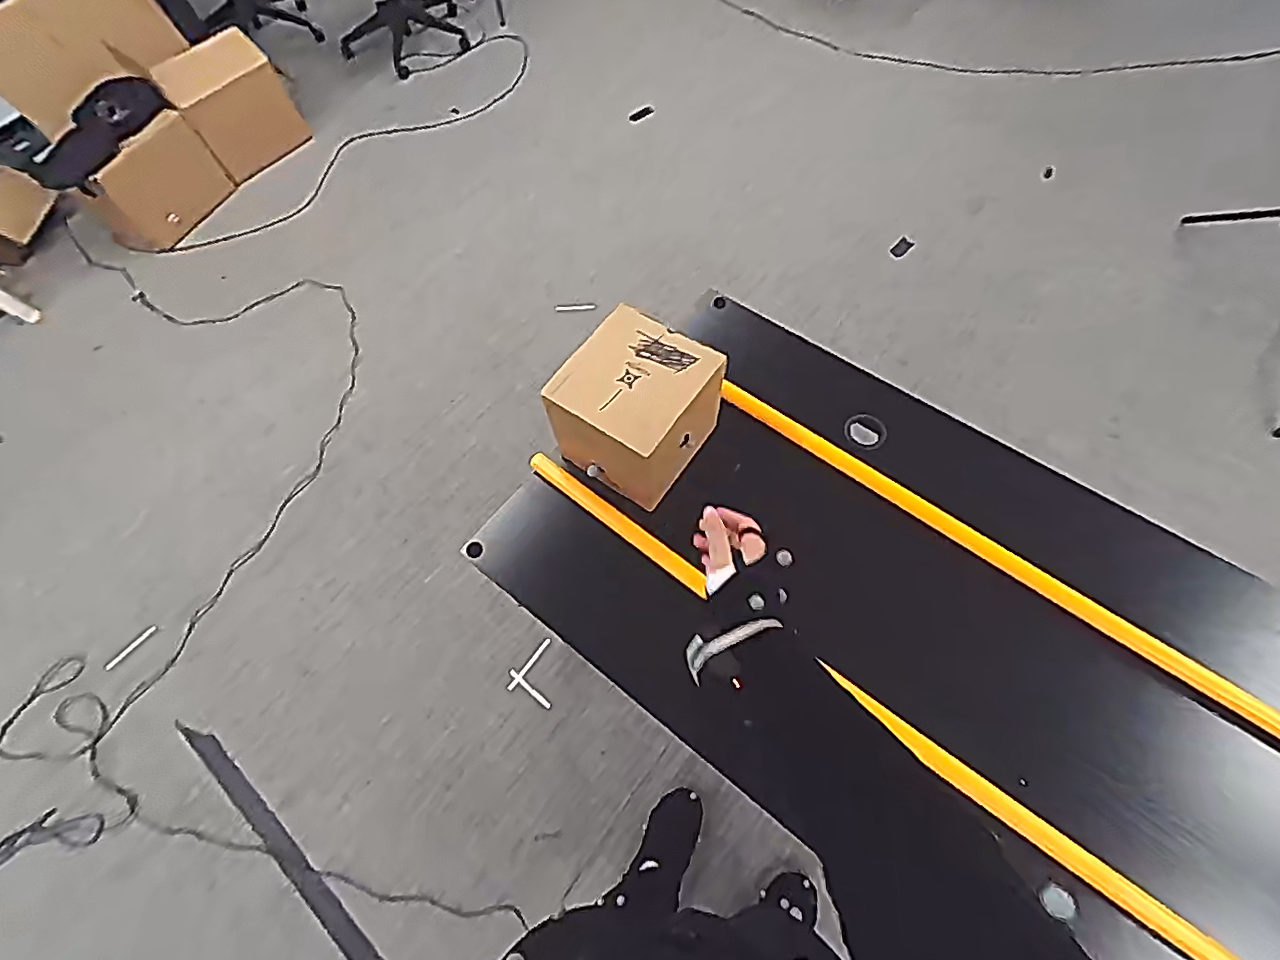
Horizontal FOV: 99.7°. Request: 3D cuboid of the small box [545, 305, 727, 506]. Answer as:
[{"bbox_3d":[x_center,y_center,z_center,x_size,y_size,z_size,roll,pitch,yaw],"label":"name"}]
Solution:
[{"bbox_3d":[-0.002,-0.096,0.744,0.168,0.176,0.179,32,71,17],"label":"small box"}]
